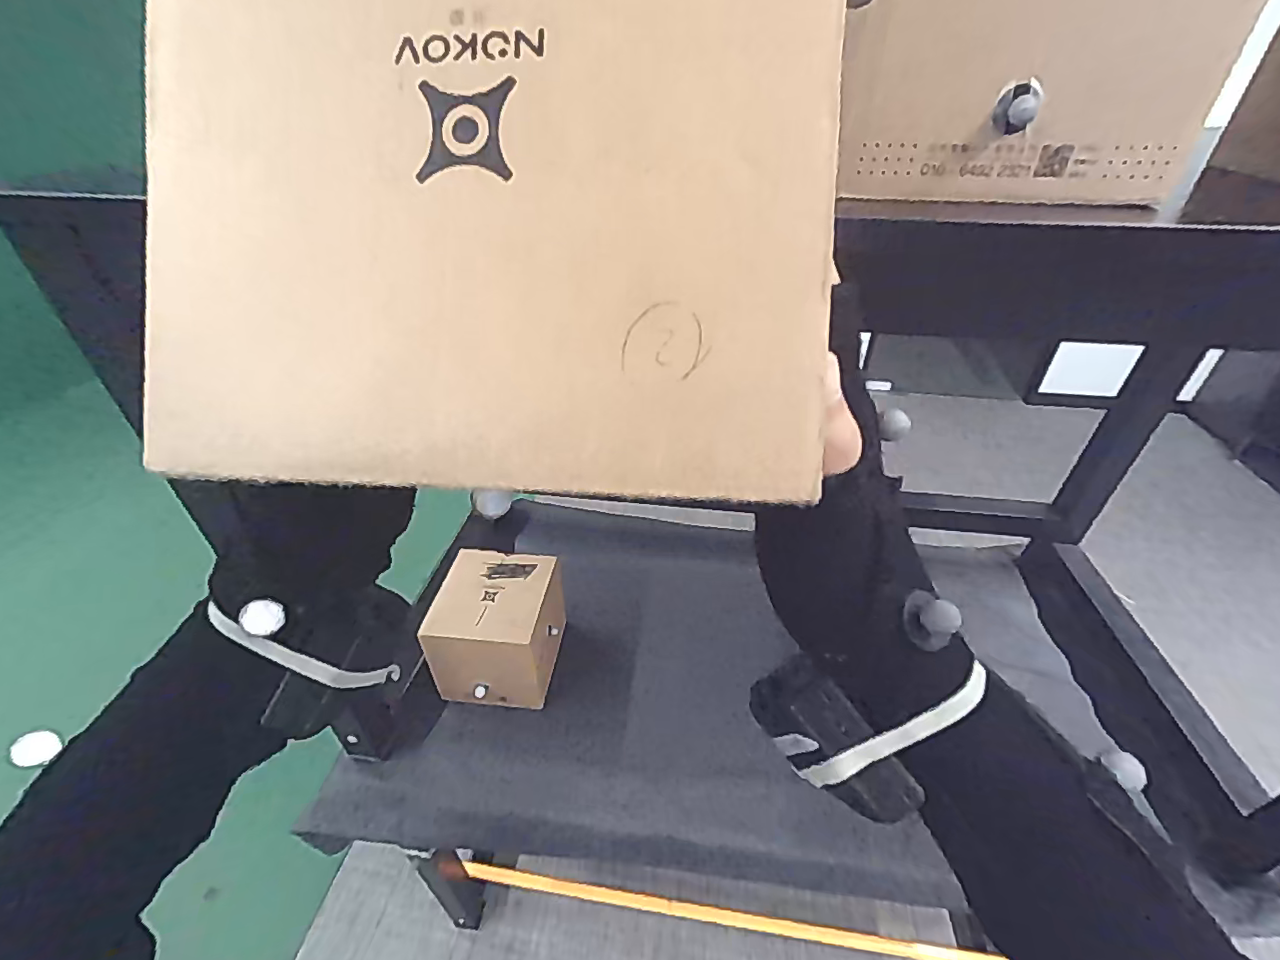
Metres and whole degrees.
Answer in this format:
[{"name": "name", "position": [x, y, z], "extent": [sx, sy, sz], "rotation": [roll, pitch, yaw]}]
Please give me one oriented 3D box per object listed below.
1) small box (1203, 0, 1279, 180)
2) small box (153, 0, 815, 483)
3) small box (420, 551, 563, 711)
[{"name": "small box", "position": [0.473, -0.249, 0.281], "extent": [0.168, 0.176, 0.179], "rotation": [10, 37, 14]}, {"name": "small box", "position": [-0.031, -0.091, 0.208], "extent": [0.168, 0.179, 0.176], "rotation": [2, 1, 7]}, {"name": "small box", "position": [-0.222, 0.238, 0.865], "extent": [0.168, 0.176, 0.179], "rotation": [3, 36, 5]}]
